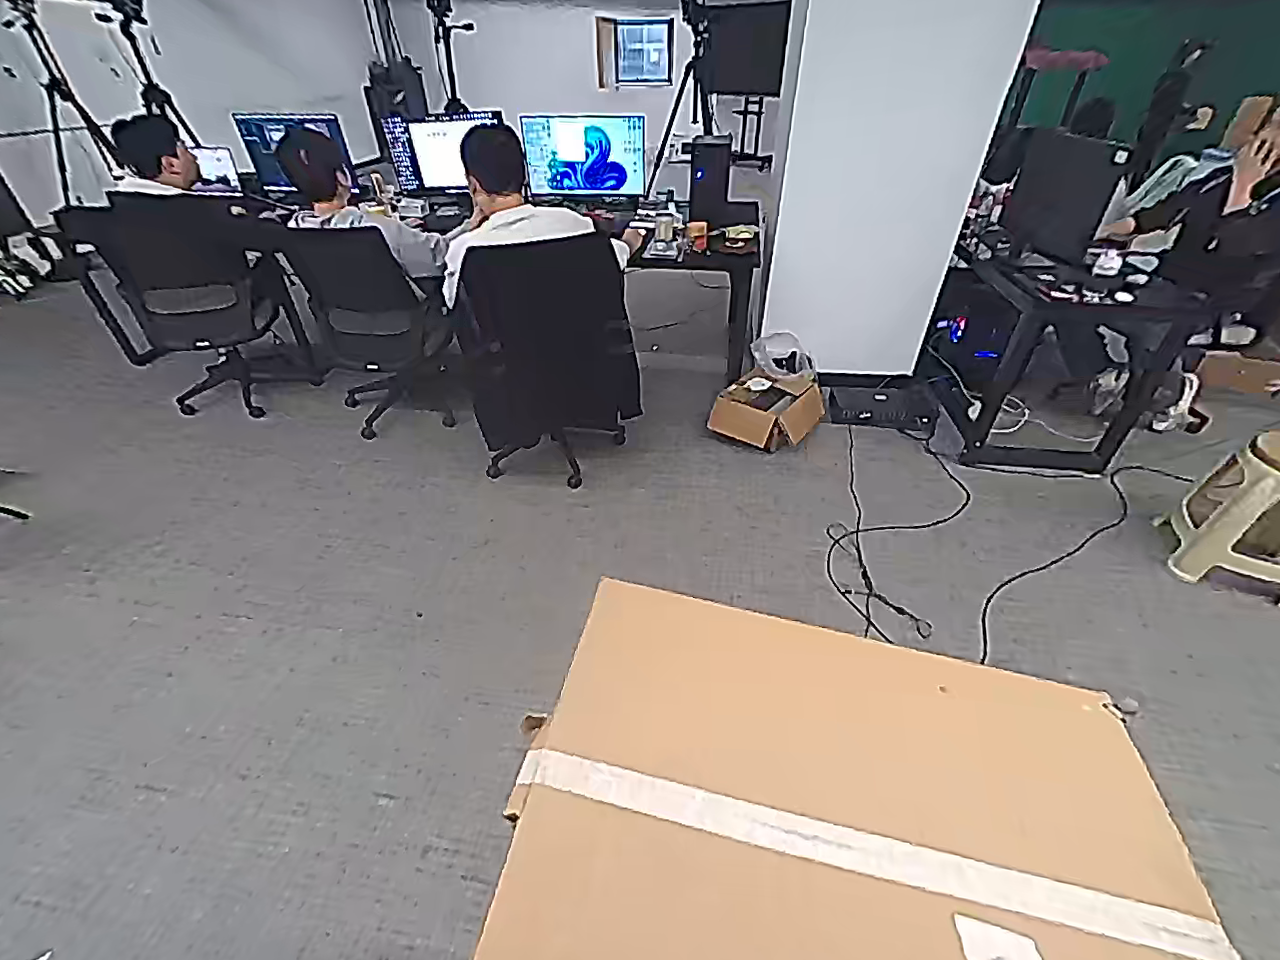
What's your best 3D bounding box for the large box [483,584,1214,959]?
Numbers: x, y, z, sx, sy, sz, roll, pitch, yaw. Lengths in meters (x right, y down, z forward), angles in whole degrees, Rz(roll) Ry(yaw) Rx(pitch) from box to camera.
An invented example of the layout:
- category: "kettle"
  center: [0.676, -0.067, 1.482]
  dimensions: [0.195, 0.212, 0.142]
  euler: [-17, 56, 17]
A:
- category: "large box"
  center: [0.114, 0.334, 0.427]
  dimensions: [0.408, 0.320, 0.320]
  euler: [13, 41, 5]
